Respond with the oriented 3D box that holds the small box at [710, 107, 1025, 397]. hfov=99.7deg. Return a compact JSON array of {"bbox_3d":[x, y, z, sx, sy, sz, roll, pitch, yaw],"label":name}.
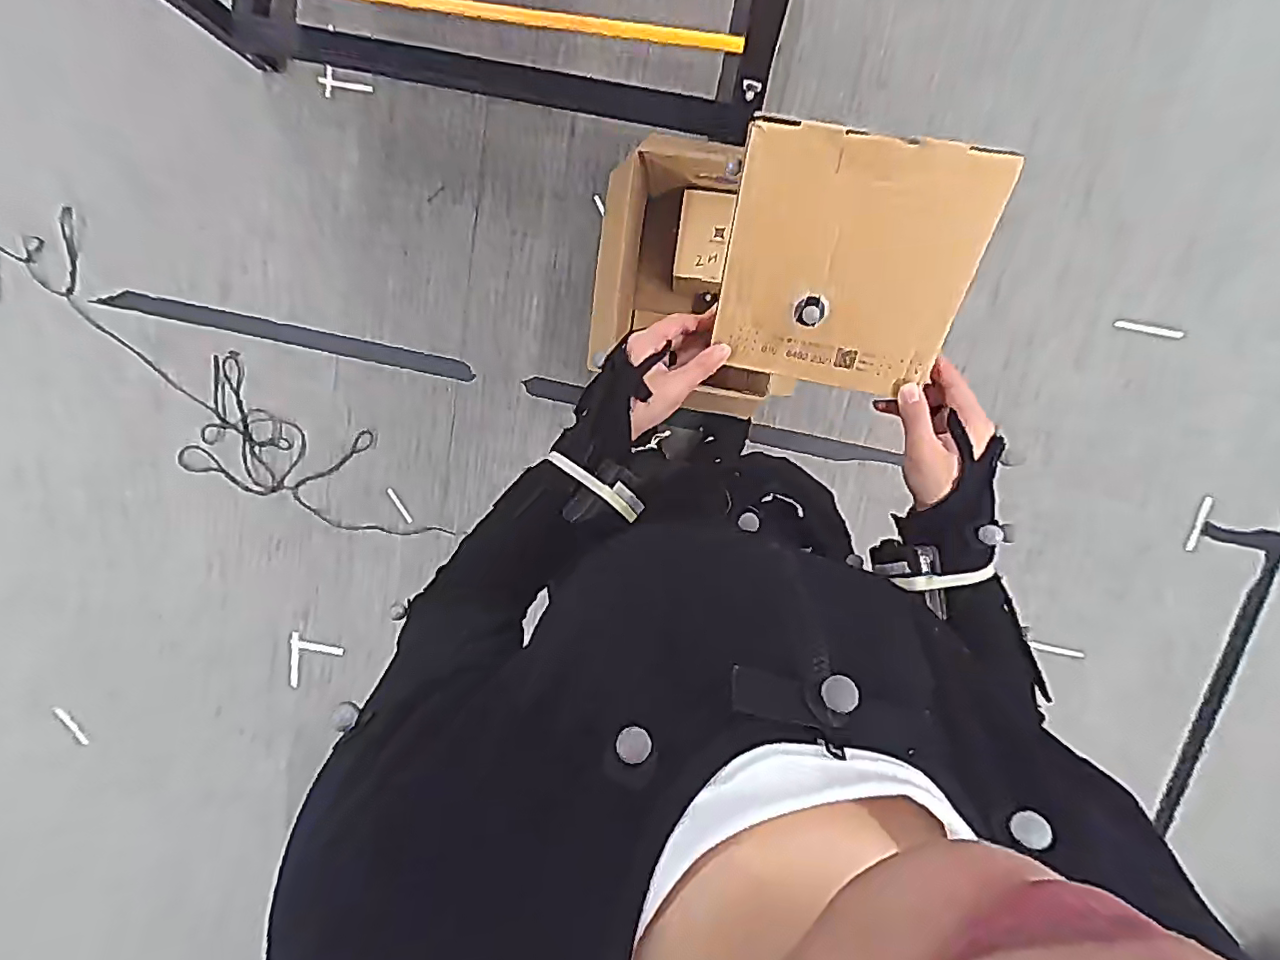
[{"bbox_3d":[0.159,-0.189,0.441,0.168,0.179,0.176,13,125,7],"label":"small box"}]
